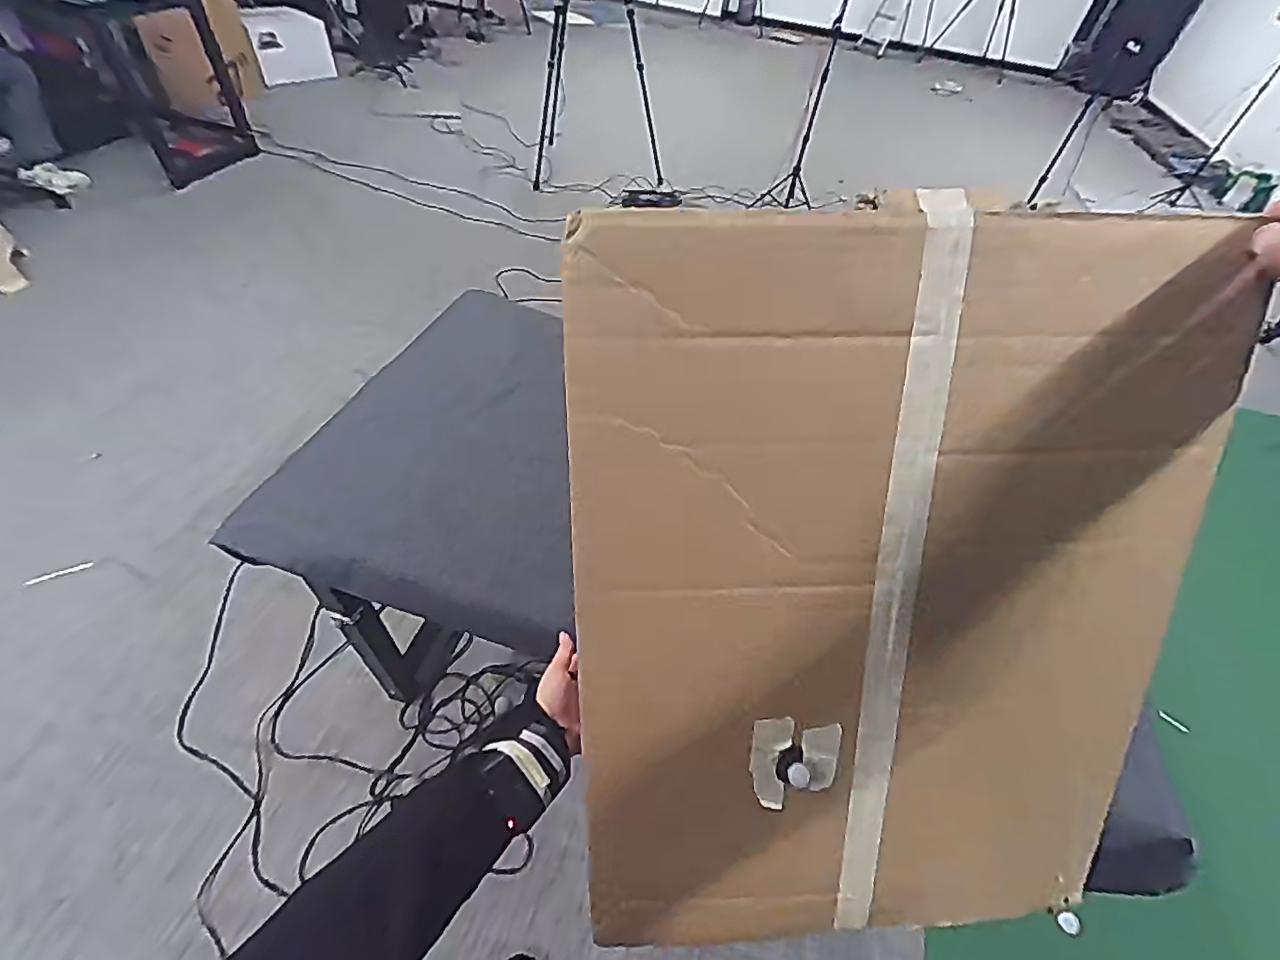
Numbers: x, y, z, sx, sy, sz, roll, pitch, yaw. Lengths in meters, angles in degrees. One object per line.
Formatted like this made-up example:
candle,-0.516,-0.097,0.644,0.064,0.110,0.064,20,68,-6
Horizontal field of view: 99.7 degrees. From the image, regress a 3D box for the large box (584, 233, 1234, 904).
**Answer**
large box,0.122,0.034,0.442,0.320,0.408,0.320,-2,18,-4
